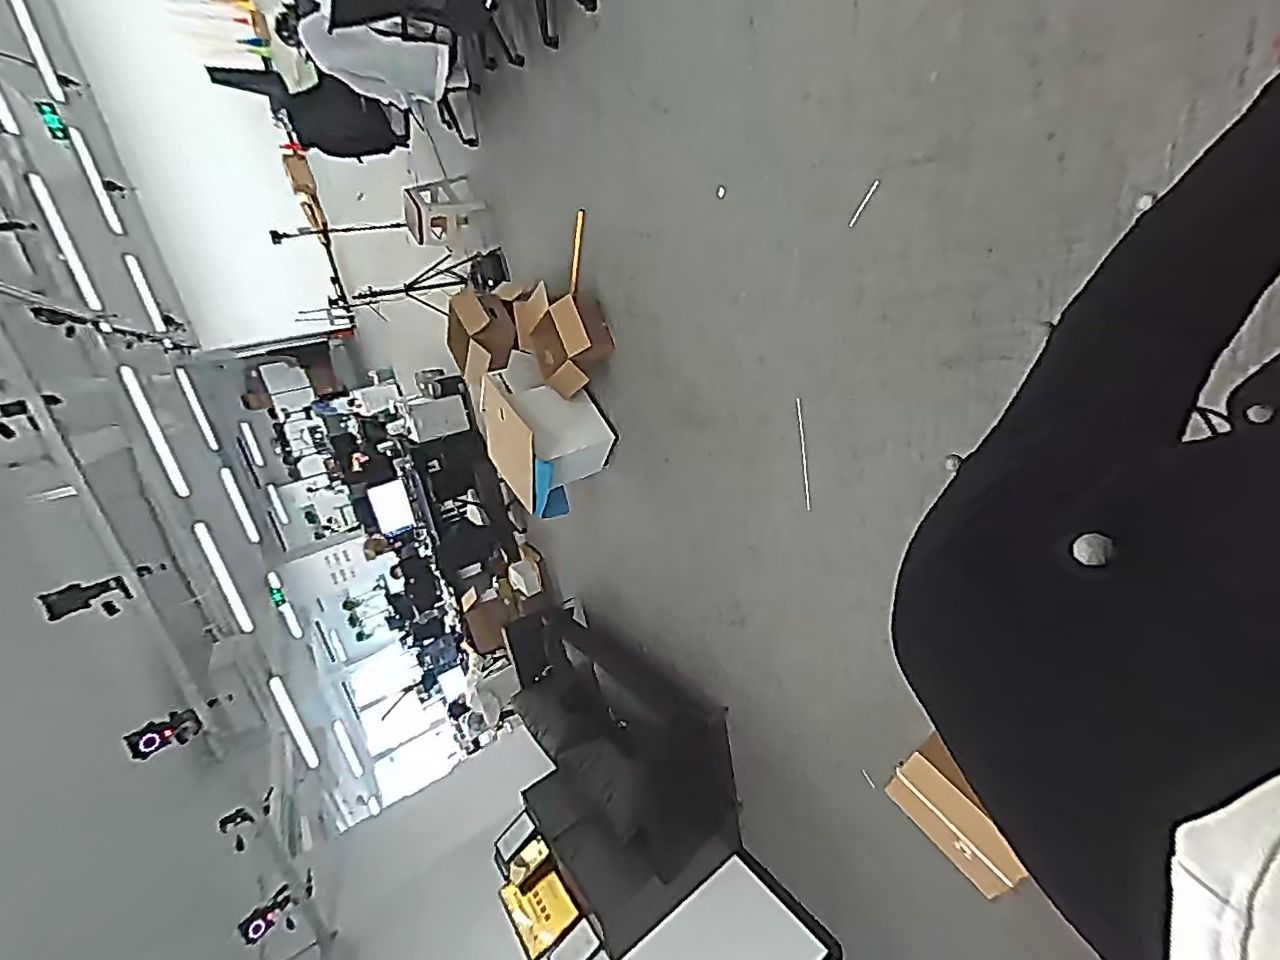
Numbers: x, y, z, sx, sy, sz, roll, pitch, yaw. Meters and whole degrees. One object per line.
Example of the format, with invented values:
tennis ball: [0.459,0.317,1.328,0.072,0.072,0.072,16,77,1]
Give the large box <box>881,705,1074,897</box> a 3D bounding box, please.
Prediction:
large box: [1.126,1.070,1.839,0.408,0.320,0.320,41,141,37]
